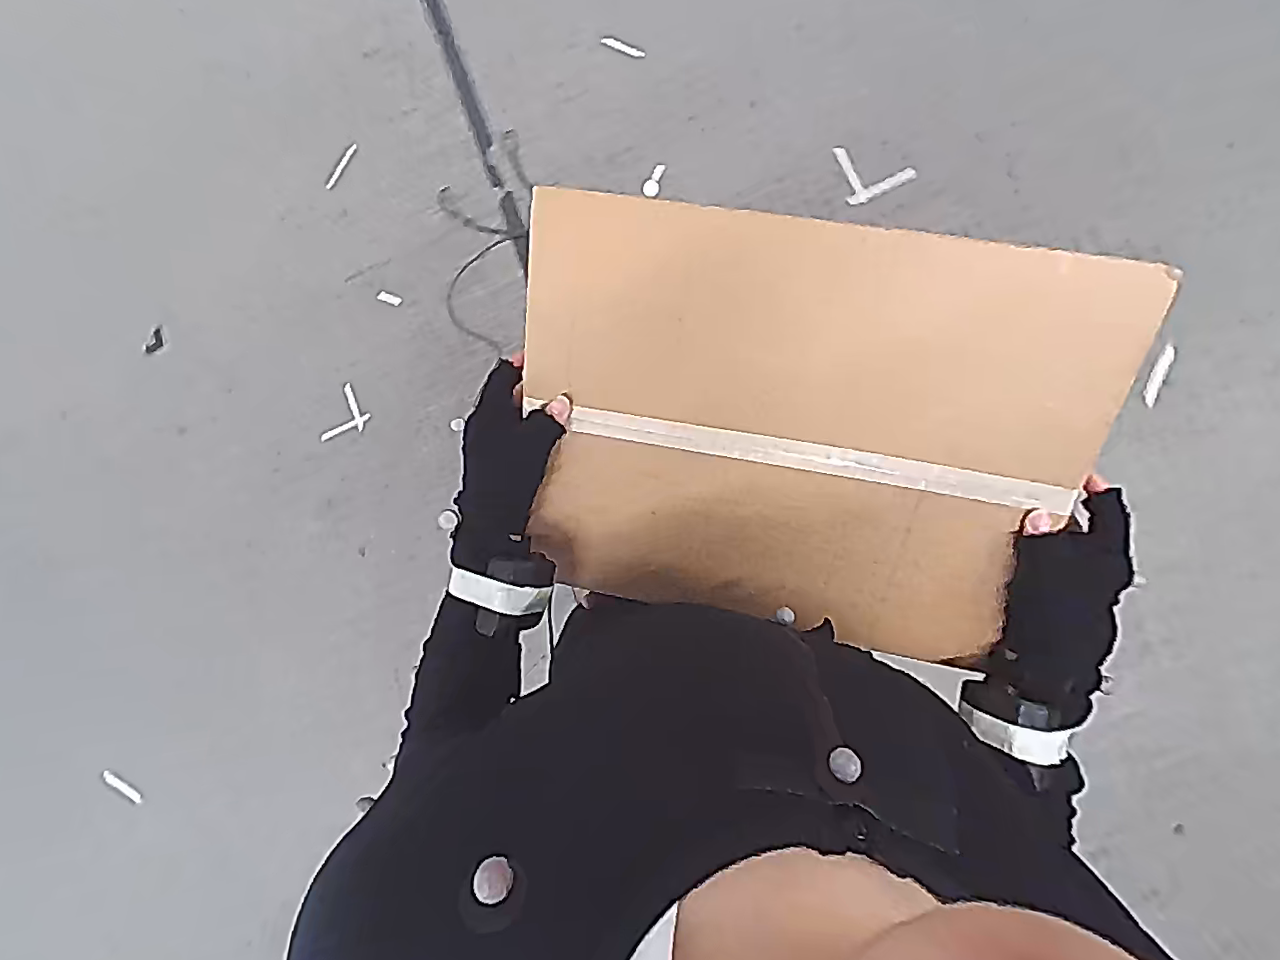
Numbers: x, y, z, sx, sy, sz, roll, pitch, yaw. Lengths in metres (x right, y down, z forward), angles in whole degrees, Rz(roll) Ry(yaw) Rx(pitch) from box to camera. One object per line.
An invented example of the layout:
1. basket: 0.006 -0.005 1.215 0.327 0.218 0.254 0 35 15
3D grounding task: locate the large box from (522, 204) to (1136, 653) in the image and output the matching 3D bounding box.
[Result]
1. large box: 0.124 -0.078 0.551 0.408 0.320 0.320 10 114 6
